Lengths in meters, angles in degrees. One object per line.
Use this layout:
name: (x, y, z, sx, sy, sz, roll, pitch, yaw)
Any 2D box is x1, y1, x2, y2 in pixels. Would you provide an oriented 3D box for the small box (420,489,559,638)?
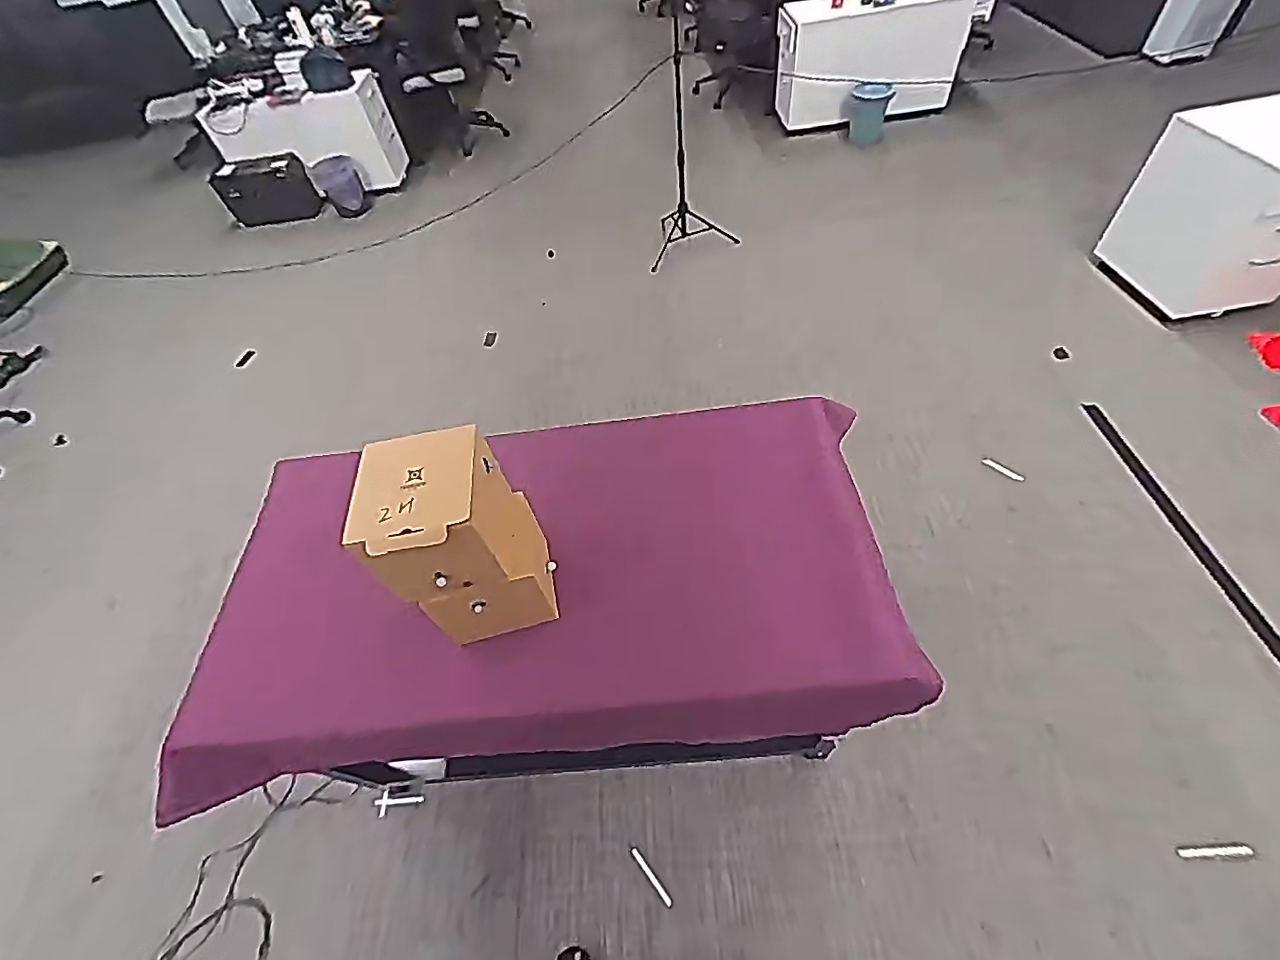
small box: (-0.249, 0.146, 0.911, 0.179, 0.176, 0.168, -14, 53, -4)

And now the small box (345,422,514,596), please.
small box: (-0.289, 0.044, 0.785, 0.168, 0.176, 0.179, -11, 53, 1)
